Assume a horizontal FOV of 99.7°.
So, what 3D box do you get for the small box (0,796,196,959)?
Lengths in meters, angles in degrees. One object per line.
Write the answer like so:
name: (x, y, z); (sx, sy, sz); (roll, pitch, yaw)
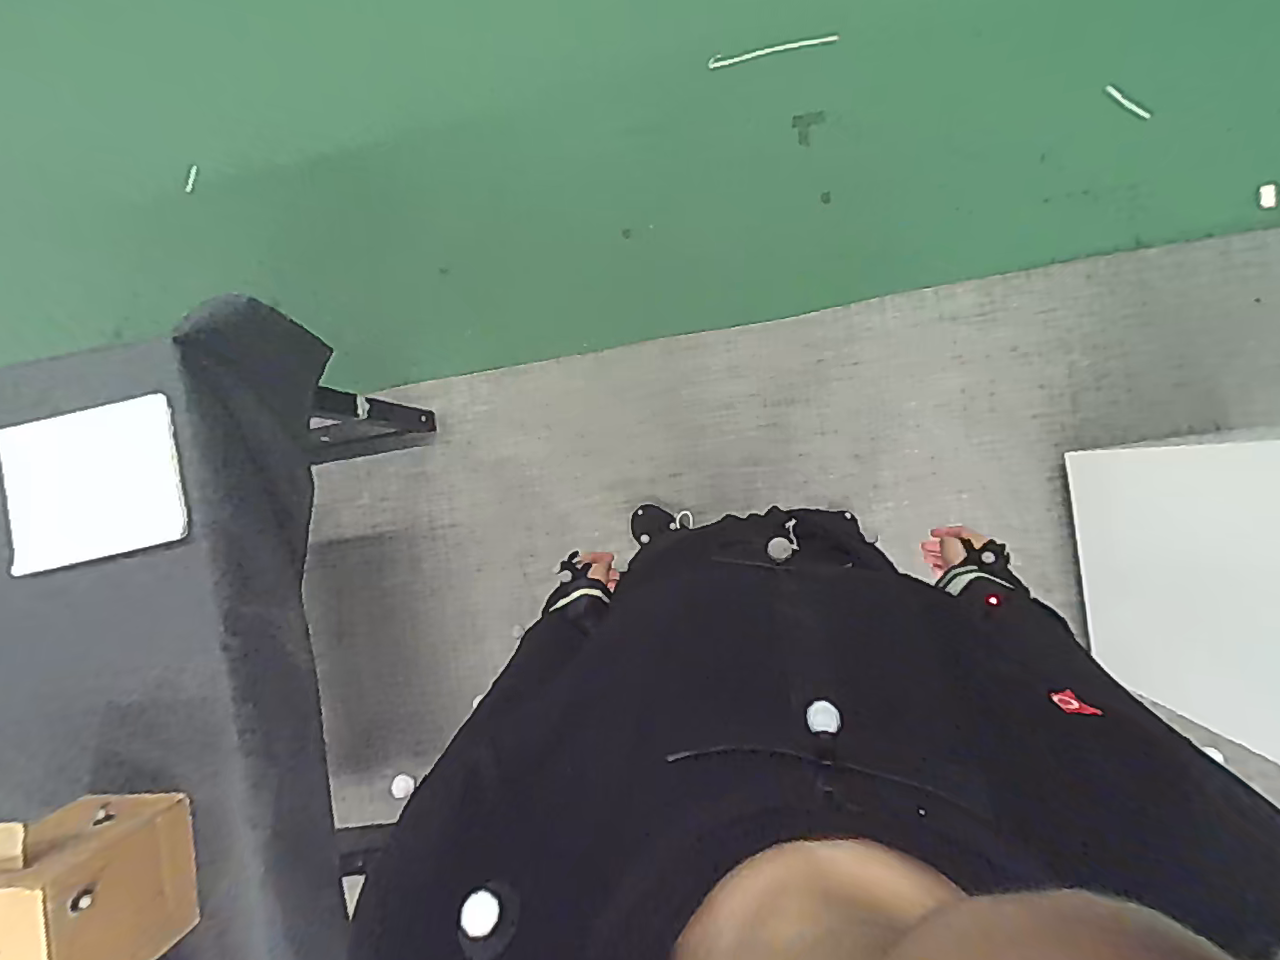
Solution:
small box: (-0.681, 0.516, 0.650); (0.168, 0.176, 0.179); (-6, 89, 7)
